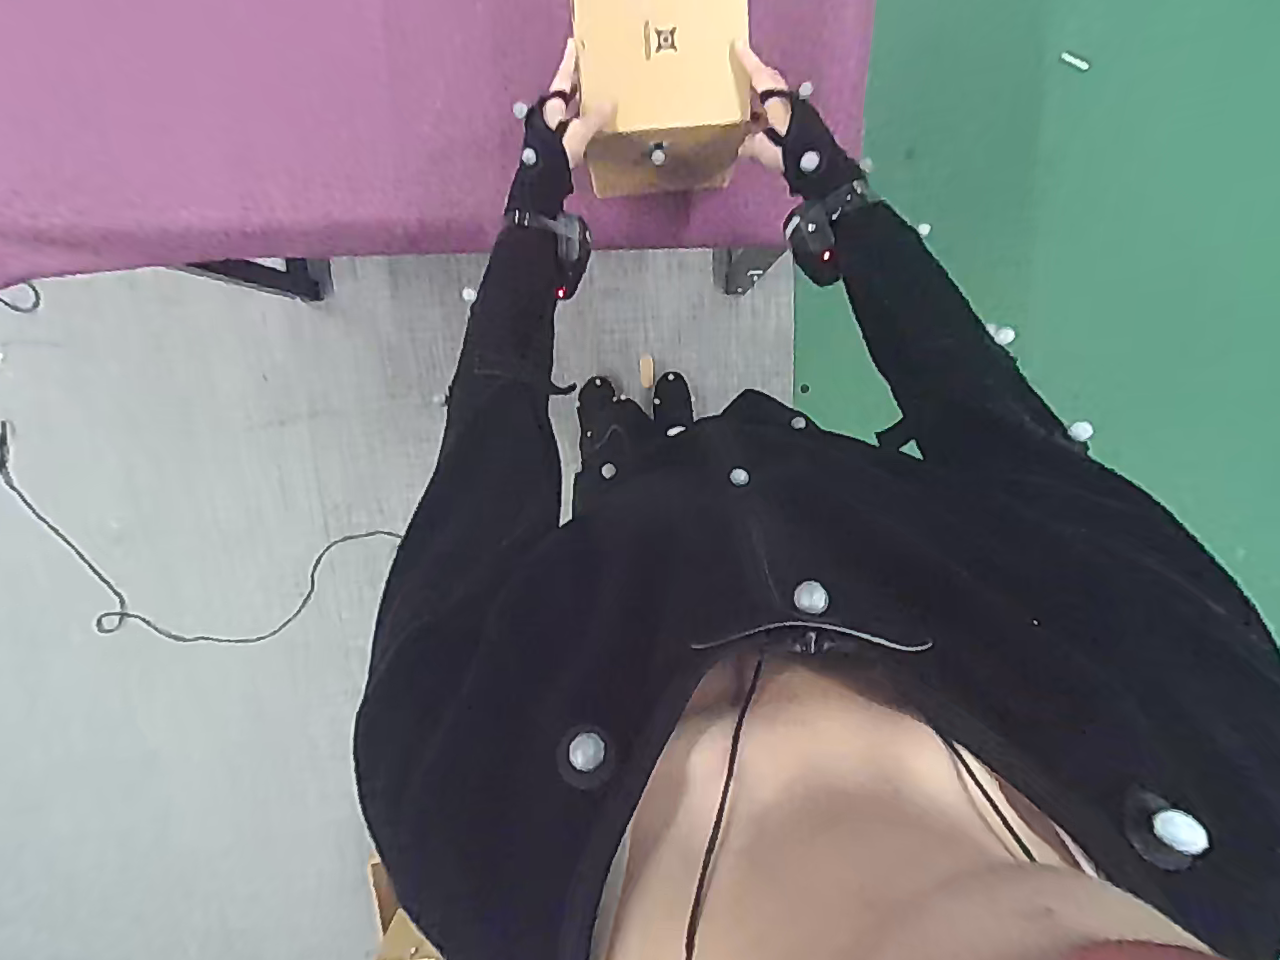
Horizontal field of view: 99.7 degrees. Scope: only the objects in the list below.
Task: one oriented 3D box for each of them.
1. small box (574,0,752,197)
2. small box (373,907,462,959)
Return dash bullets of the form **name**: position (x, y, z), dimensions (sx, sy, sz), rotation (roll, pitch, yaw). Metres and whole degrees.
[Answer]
- **small box**: position (0.026, -0.445, 0.622), dimensions (0.179, 0.176, 0.168), rotation (-3, 99, 3)
- **small box**: position (-0.584, 1.276, 1.423), dimensions (0.168, 0.176, 0.179), rotation (-5, 98, 1)
